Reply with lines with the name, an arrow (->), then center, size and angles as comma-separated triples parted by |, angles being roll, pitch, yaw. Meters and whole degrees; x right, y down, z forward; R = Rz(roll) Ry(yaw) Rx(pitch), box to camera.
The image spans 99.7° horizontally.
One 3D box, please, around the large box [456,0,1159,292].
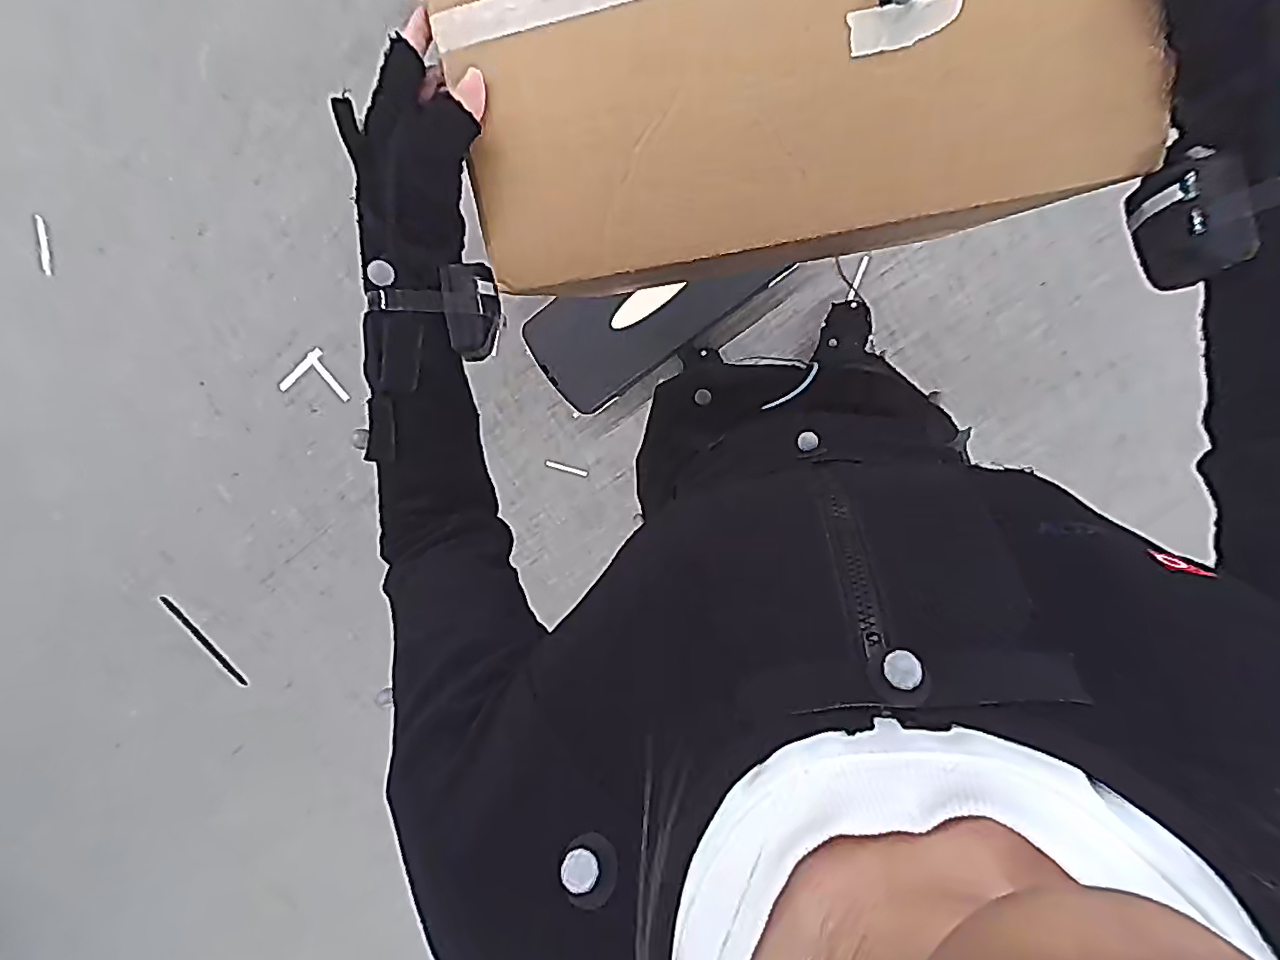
large box -> 0.097, -0.355, 0.451 | 0.408, 0.320, 0.320 | -7, 108, 10
